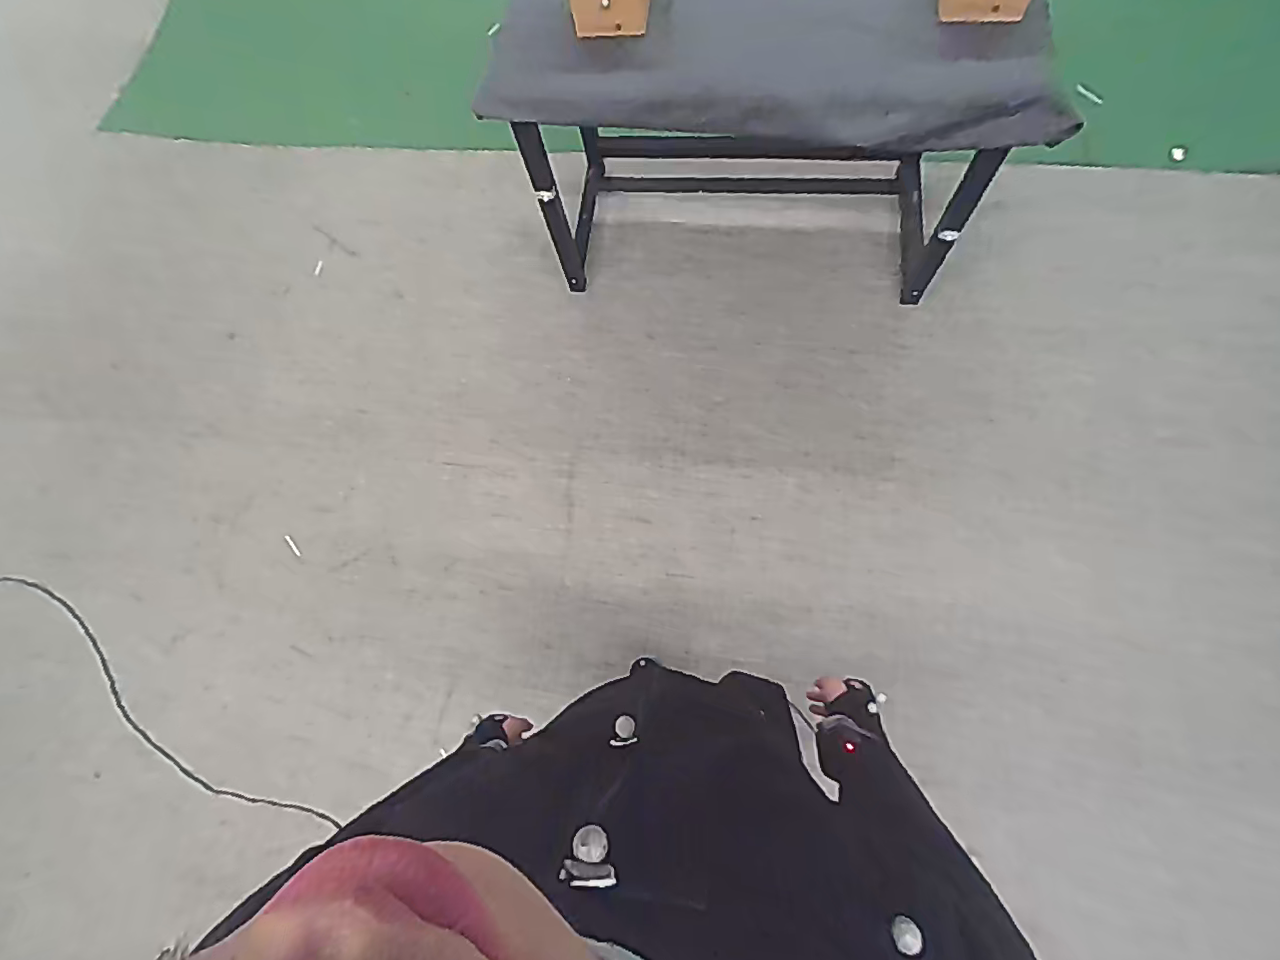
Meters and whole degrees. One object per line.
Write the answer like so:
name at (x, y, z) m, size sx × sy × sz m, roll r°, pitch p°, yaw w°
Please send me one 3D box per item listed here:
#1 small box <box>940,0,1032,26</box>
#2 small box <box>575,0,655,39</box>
small box at (0.740, -1.082, 1.115) m, size 0.168 × 0.176 × 0.179 m, roll 9°, pitch 72°, yaw 8°
small box at (-0.058, -1.144, 1.228) m, size 0.168 × 0.176 × 0.179 m, roll 4°, pitch 73°, yaw 7°
